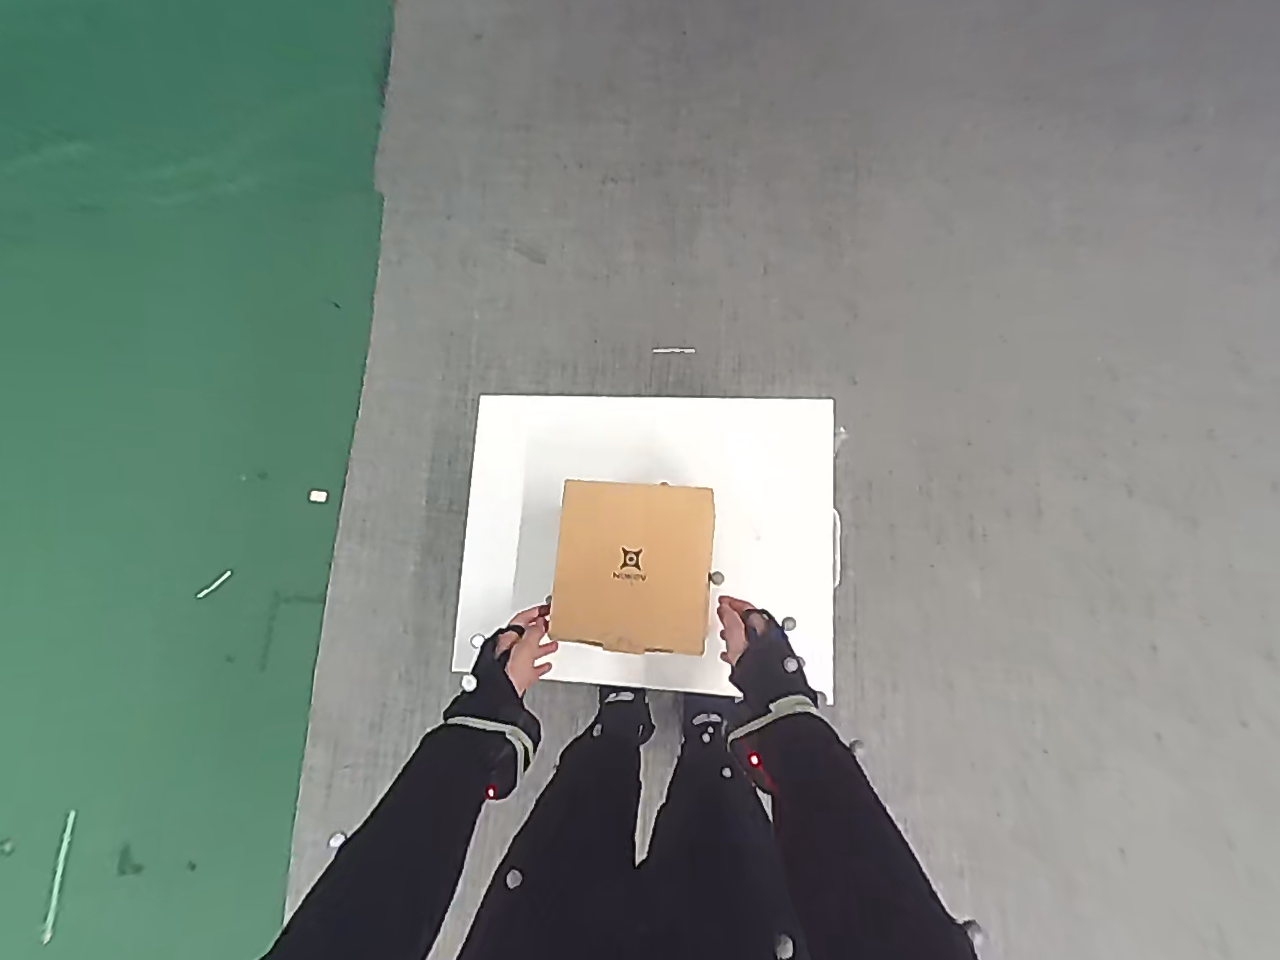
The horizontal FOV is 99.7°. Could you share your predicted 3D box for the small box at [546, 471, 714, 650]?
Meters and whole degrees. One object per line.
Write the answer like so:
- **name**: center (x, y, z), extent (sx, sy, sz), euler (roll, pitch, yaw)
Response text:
- **small box**: center (0.000, 0.095, 0.644), extent (0.168, 0.176, 0.179), euler (3, 80, 8)
